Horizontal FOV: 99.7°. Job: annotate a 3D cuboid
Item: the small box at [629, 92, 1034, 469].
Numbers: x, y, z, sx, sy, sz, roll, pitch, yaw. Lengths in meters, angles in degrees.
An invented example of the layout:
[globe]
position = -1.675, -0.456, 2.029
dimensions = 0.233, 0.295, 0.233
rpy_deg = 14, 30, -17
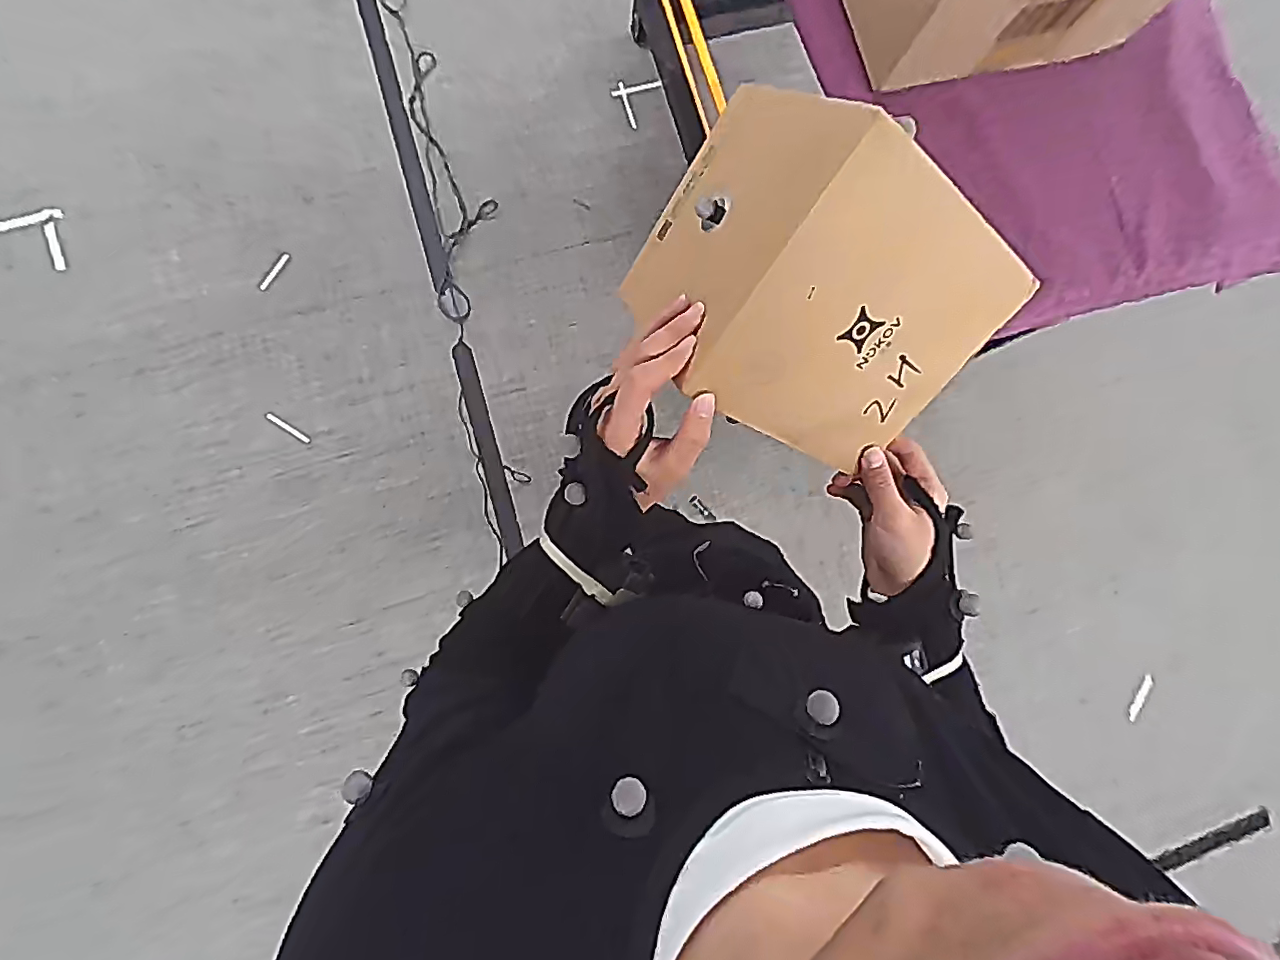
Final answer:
[small box]
position = 0.114, -0.141, 0.386
dimensions = 0.179, 0.176, 0.168
rpy_deg = 20, 120, -32
